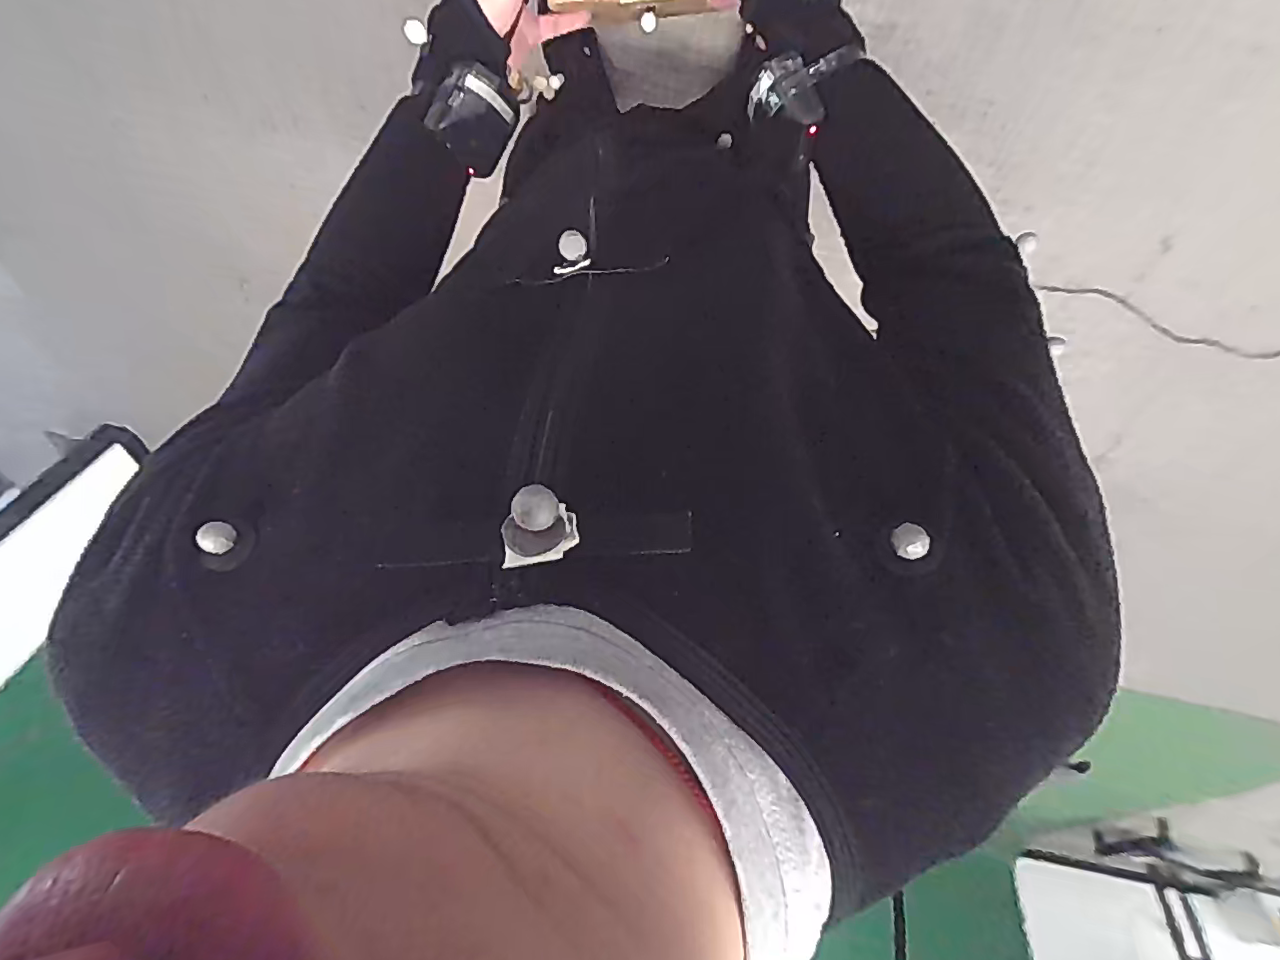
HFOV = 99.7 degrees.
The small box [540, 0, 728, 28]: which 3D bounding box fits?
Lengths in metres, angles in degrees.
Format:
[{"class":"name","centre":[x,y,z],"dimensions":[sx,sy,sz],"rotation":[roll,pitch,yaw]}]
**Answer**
[{"class":"small box","centre":[-0.001,-0.505,0.457],"dimensions":[0.168,0.176,0.179],"rotation":[-2,124,6]}]
